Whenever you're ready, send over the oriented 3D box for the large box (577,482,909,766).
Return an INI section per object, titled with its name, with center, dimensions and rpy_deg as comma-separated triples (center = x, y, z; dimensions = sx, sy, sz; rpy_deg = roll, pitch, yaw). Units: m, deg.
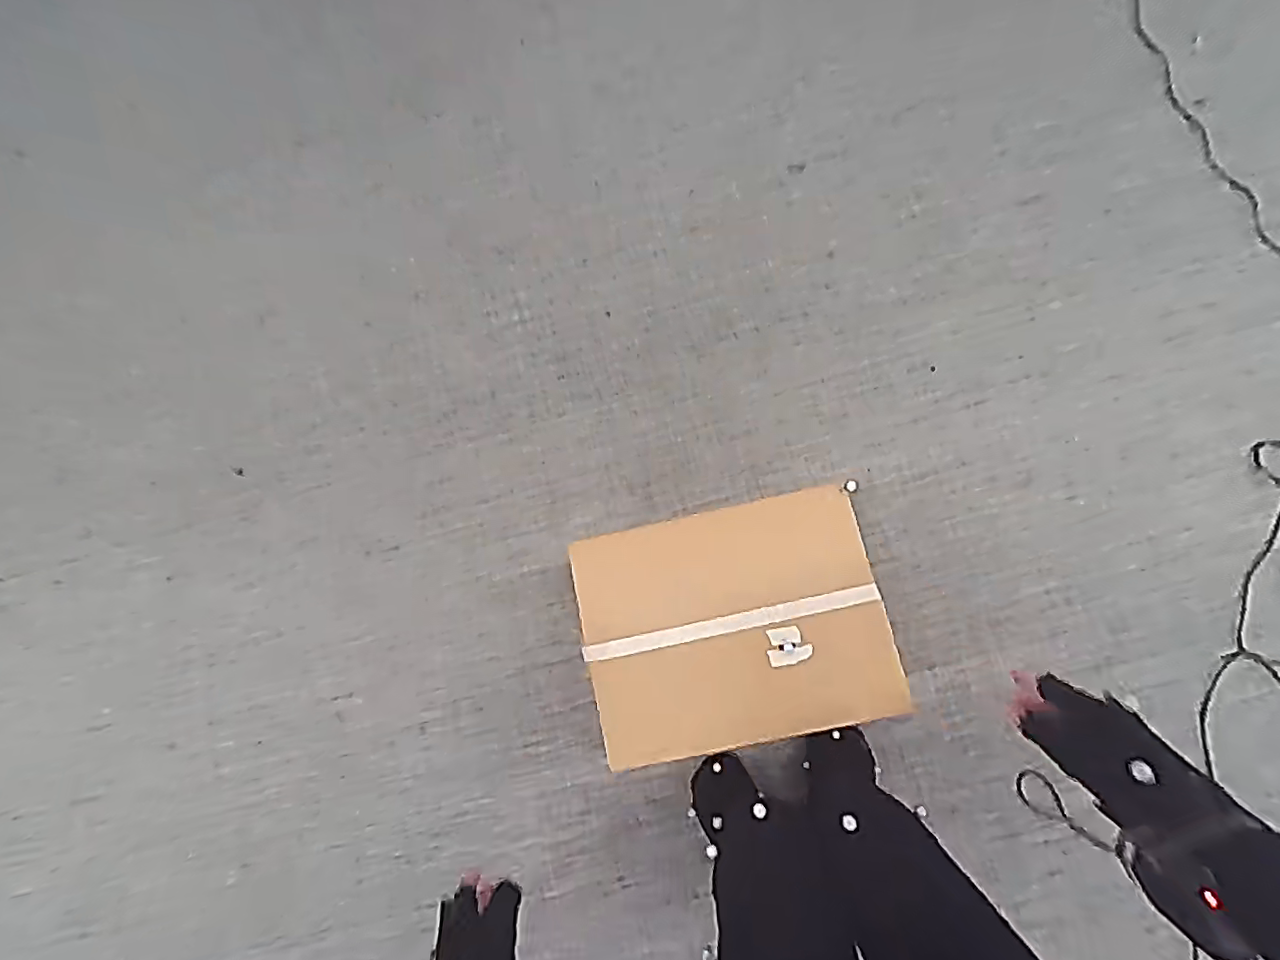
[large box]
center = 0.144, 0.227, 0.896
dimensions = 0.408, 0.320, 0.320
rpy_deg = -14, 78, 3
